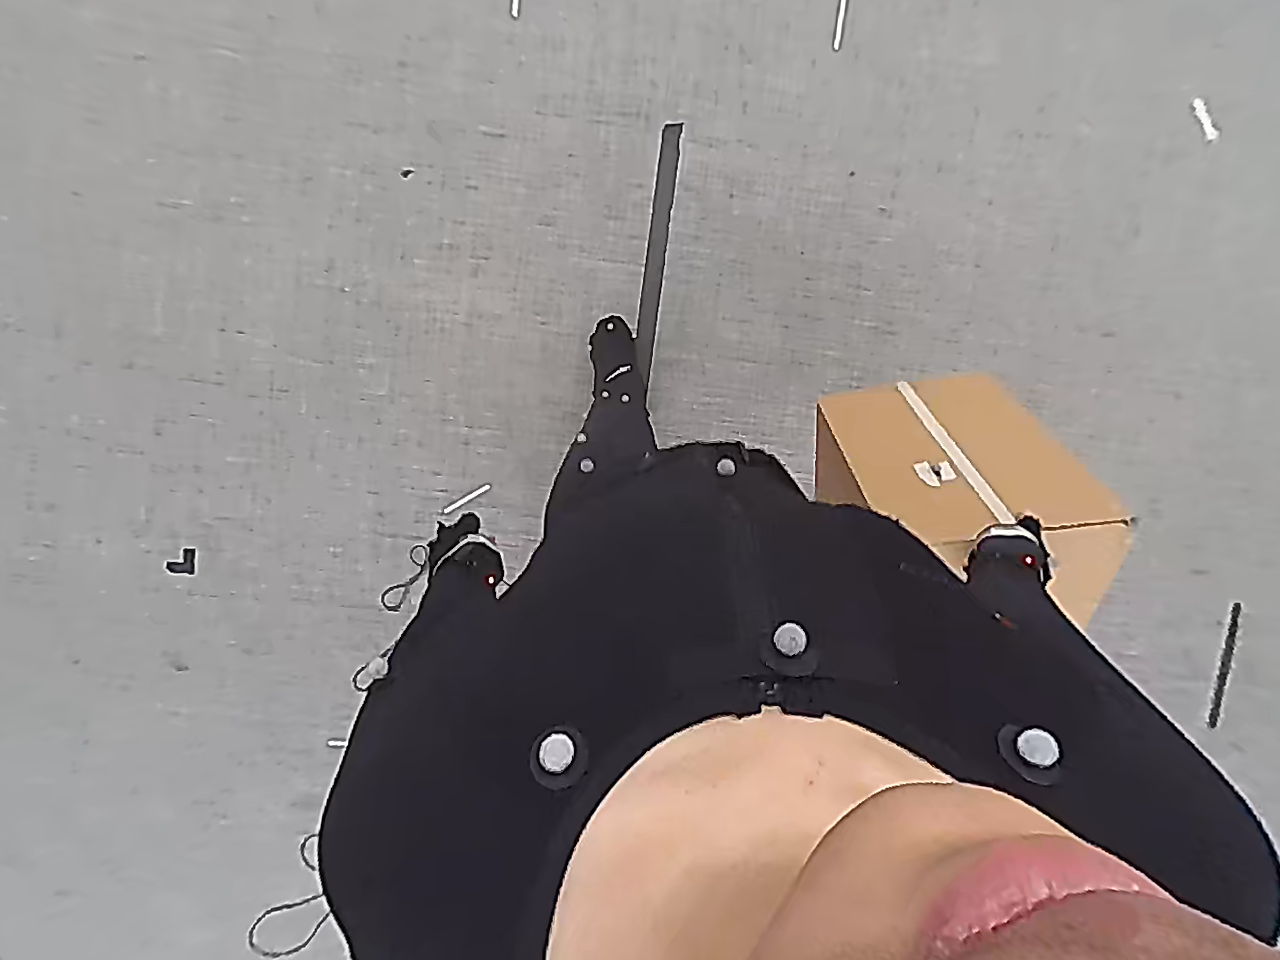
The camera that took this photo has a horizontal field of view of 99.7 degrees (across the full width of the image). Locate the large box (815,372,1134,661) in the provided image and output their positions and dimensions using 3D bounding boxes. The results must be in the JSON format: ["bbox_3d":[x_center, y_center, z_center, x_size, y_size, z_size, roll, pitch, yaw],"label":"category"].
[{"bbox_3d":[0.523,0.056,0.970,0.320,0.408,0.320,-8,130,7],"label":"large box"}]
